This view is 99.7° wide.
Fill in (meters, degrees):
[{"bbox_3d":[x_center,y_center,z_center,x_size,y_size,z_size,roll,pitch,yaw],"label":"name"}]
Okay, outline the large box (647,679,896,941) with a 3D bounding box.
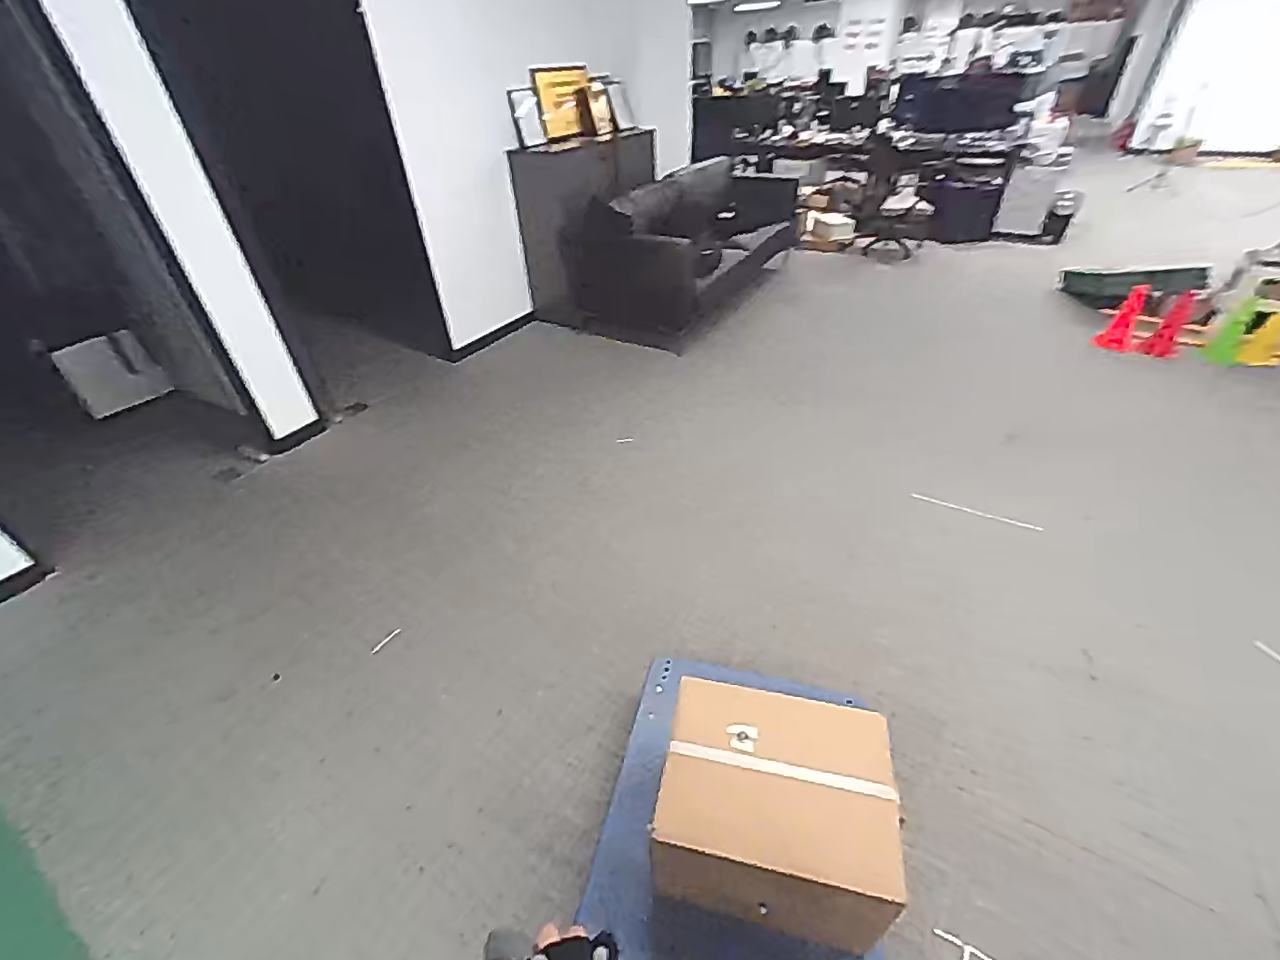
[{"bbox_3d":[0.249,0.647,1.079,0.408,0.320,0.320,6,38,13],"label":"large box"}]
